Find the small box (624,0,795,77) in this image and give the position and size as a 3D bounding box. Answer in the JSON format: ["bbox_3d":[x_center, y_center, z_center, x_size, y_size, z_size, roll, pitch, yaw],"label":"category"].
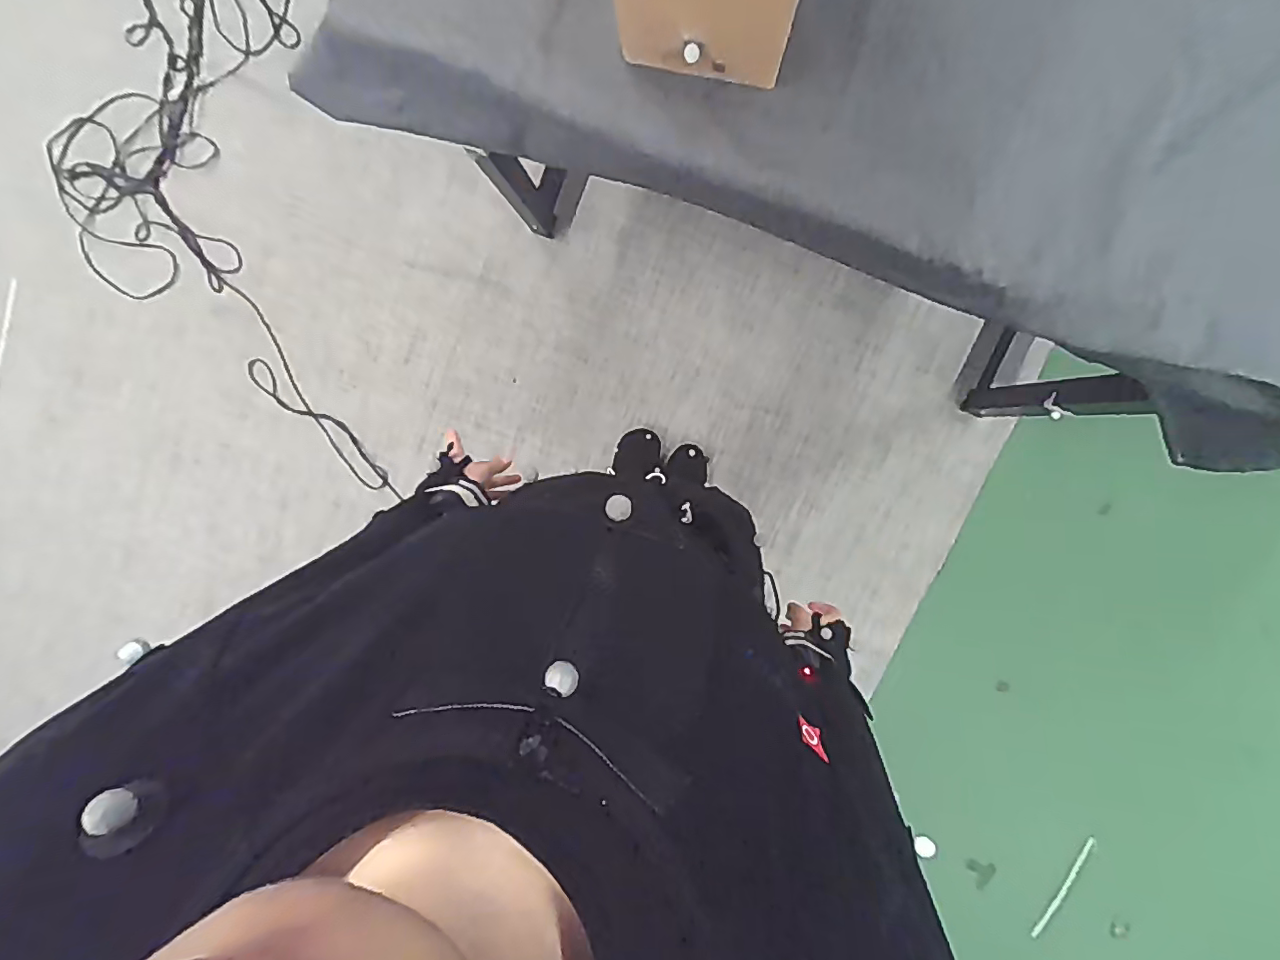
[{"bbox_3d":[0.076,-0.520,0.489,0.168,0.176,0.179,13,98,2],"label":"small box"}]
